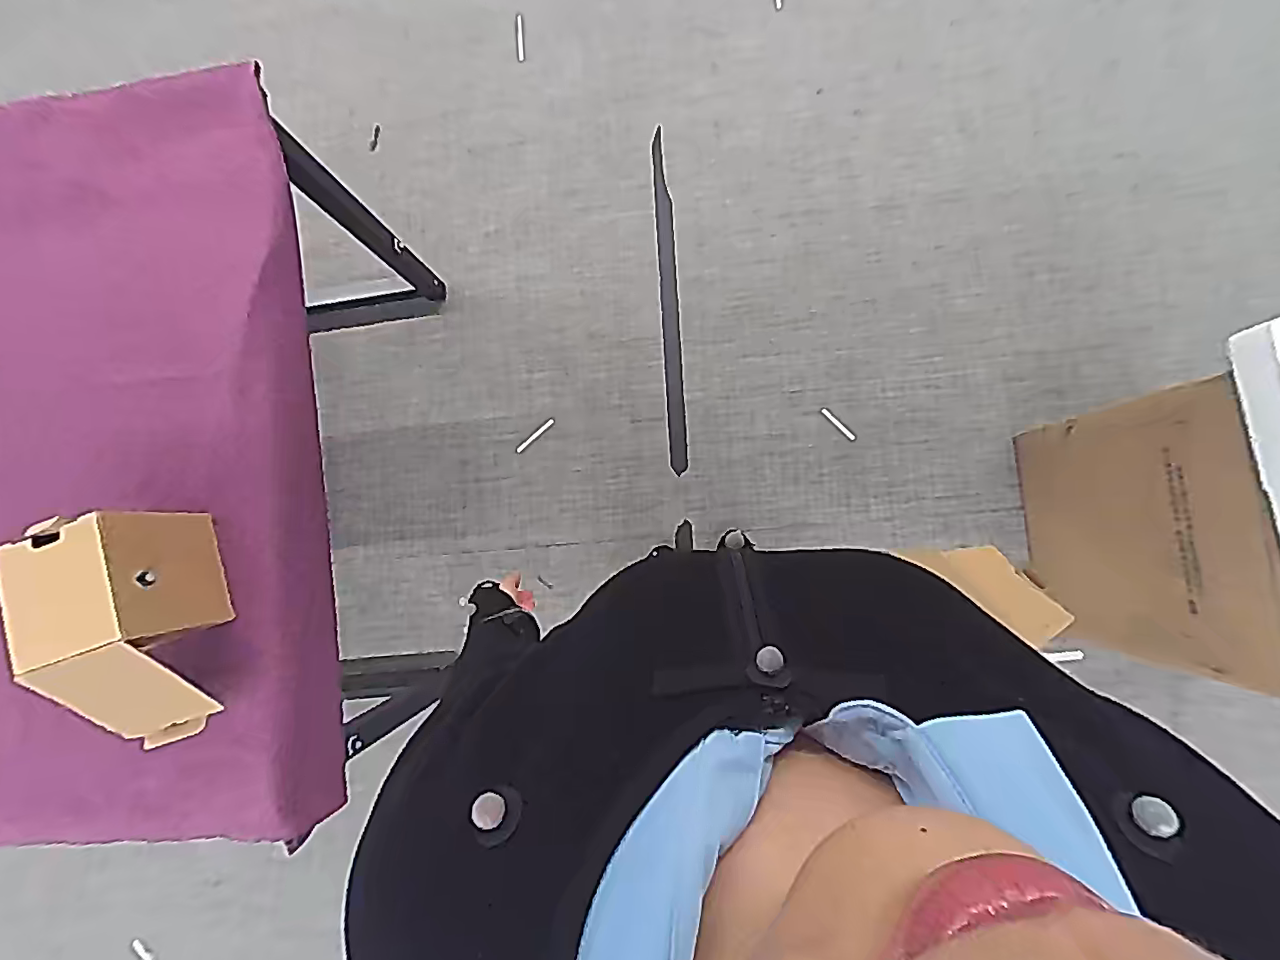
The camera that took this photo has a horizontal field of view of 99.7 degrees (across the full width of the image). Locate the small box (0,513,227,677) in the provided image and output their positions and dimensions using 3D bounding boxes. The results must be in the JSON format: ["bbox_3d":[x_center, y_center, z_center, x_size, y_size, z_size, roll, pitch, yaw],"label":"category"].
[{"bbox_3d":[-0.740,0.154,0.772,0.168,0.176,0.179,-19,83,4],"label":"small box"}]
